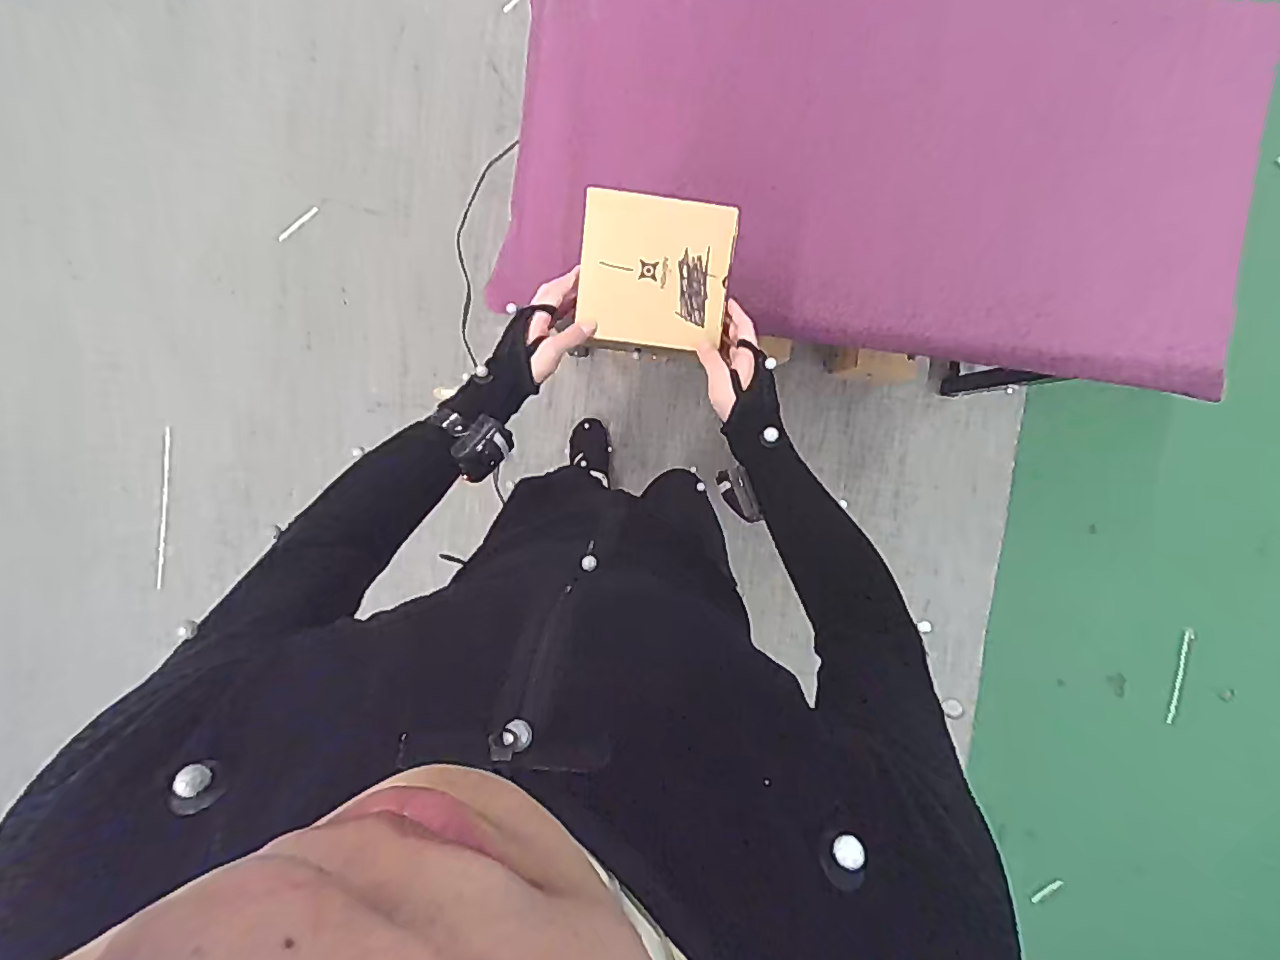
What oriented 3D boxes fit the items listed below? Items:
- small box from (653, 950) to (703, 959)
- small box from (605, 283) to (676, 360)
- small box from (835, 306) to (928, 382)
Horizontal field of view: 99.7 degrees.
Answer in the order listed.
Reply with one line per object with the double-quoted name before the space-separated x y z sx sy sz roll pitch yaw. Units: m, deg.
"small box" 0.119 1.595 1.646 0.168 0.176 0.179 6 93 -3
"small box" 0.000 -0.437 1.511 0.179 0.176 0.168 6 93 -2
"small box" 0.675 -0.379 1.533 0.179 0.176 0.168 9 94 -2
